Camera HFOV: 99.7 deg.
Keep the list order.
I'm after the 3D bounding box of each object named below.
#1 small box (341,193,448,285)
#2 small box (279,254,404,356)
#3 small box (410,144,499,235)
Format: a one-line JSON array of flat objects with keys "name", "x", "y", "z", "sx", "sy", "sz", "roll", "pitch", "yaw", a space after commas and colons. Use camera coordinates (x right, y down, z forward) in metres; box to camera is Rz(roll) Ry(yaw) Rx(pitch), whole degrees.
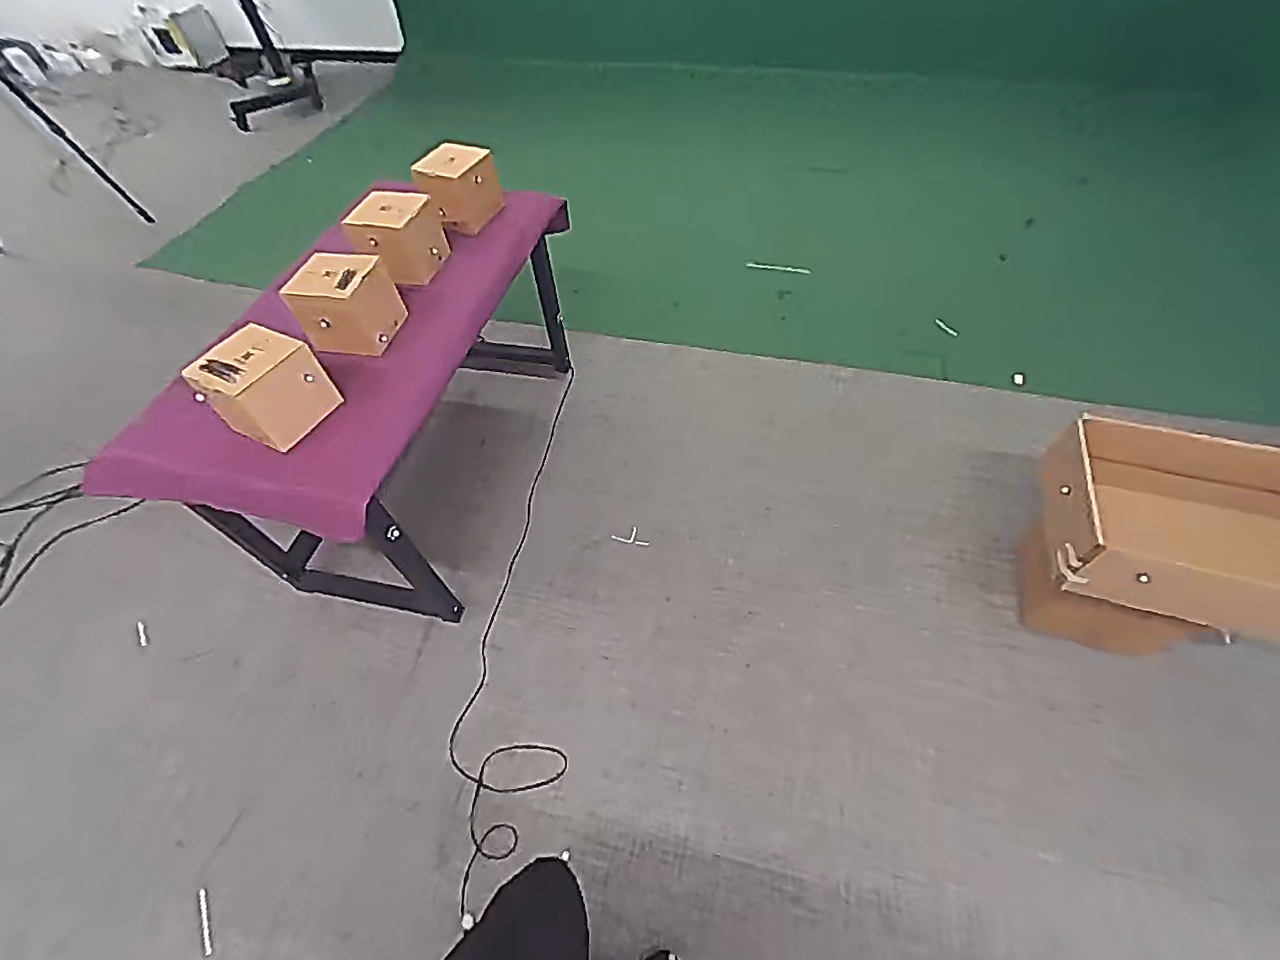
[{"name": "small box", "x": -0.654, "y": -0.649, "z": 1.464, "sx": 0.179, "sy": 0.176, "sz": 0.168, "roll": 9, "pitch": 56, "yaw": 10}, {"name": "small box", "x": -0.704, "y": -0.417, "z": 1.302, "sx": 0.179, "sy": 0.176, "sz": 0.168, "roll": 6, "pitch": 55, "yaw": 9}, {"name": "small box", "x": -0.540, "y": -0.865, "z": 1.612, "sx": 0.168, "sy": 0.176, "sz": 0.179, "roll": 18, "pitch": 59, "yaw": 16}]
